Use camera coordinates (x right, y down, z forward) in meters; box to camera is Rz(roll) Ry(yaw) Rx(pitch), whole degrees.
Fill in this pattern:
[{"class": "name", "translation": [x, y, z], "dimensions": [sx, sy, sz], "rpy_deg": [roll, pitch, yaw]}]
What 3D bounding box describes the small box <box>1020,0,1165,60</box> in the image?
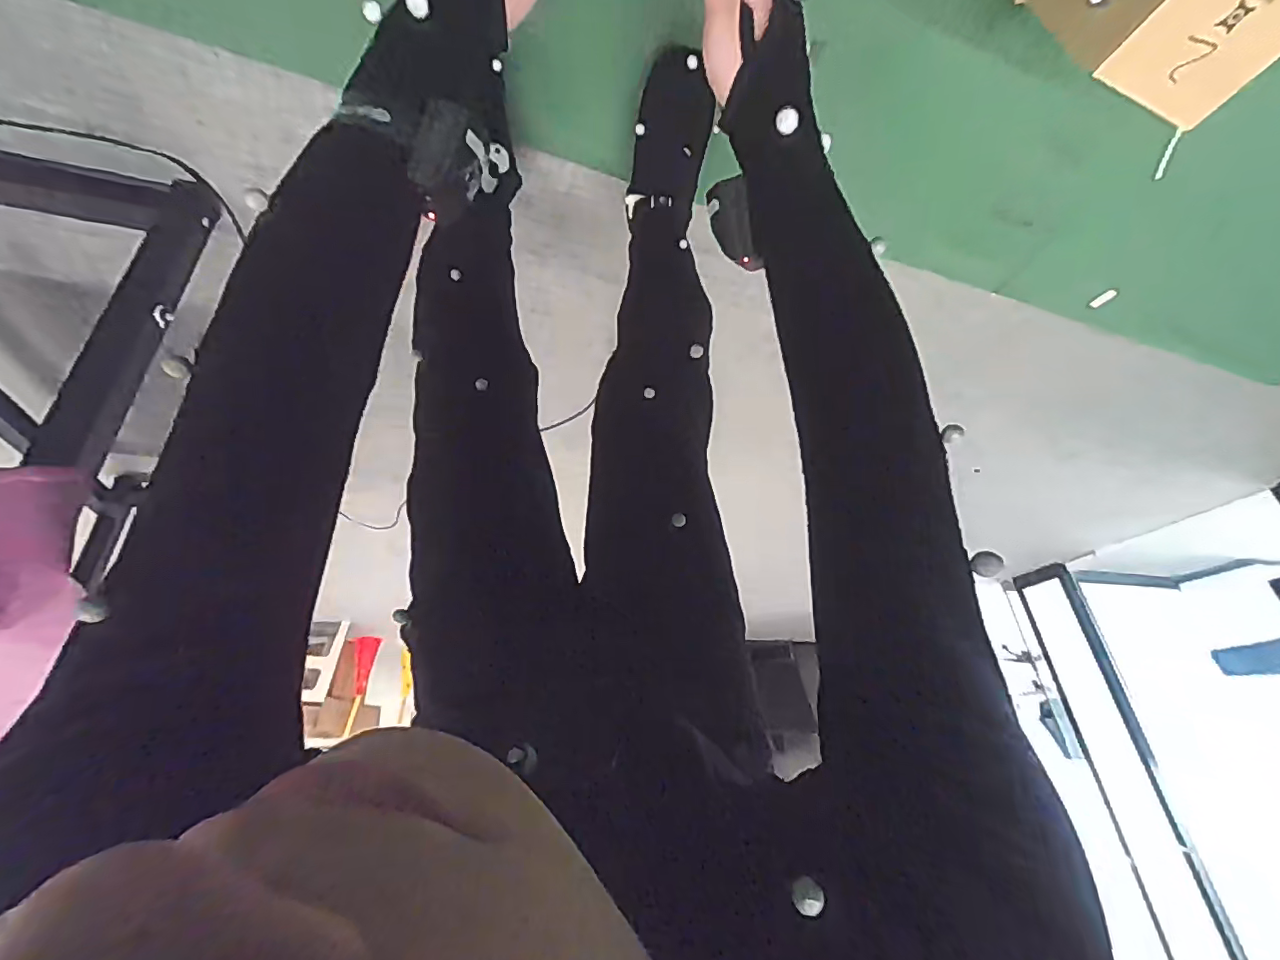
[{"class": "small box", "translation": [0.524, -0.637, 0.606], "dimensions": [0.168, 0.176, 0.179], "rpy_deg": [8, 149, -21]}]
